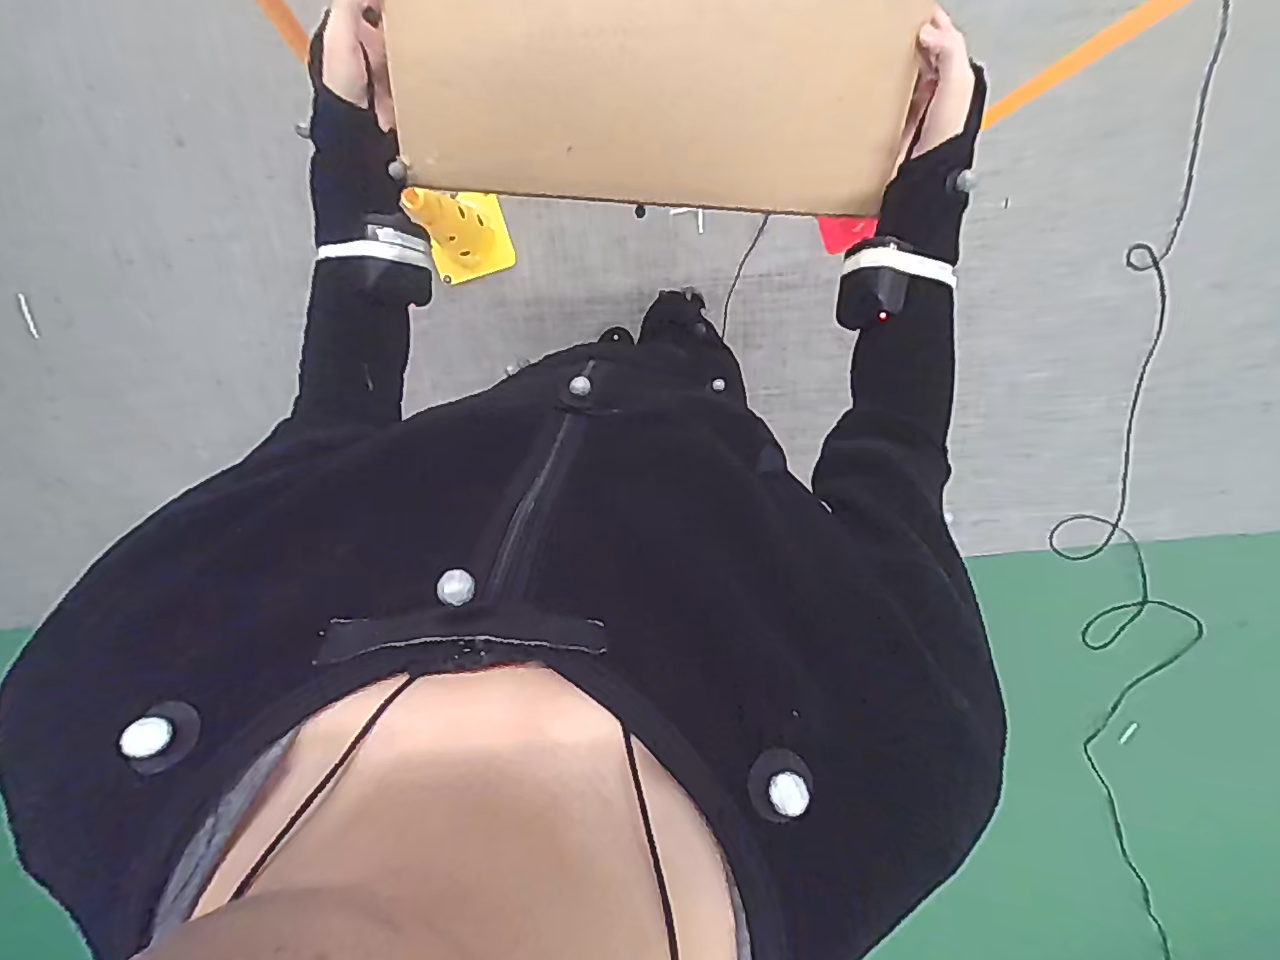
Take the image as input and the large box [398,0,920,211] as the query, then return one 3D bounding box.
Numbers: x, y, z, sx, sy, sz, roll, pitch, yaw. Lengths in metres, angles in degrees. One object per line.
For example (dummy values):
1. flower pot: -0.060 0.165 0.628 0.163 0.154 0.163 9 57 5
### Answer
1. large box: 0.015 -0.449 0.529 0.408 0.320 0.320 2 117 -3
